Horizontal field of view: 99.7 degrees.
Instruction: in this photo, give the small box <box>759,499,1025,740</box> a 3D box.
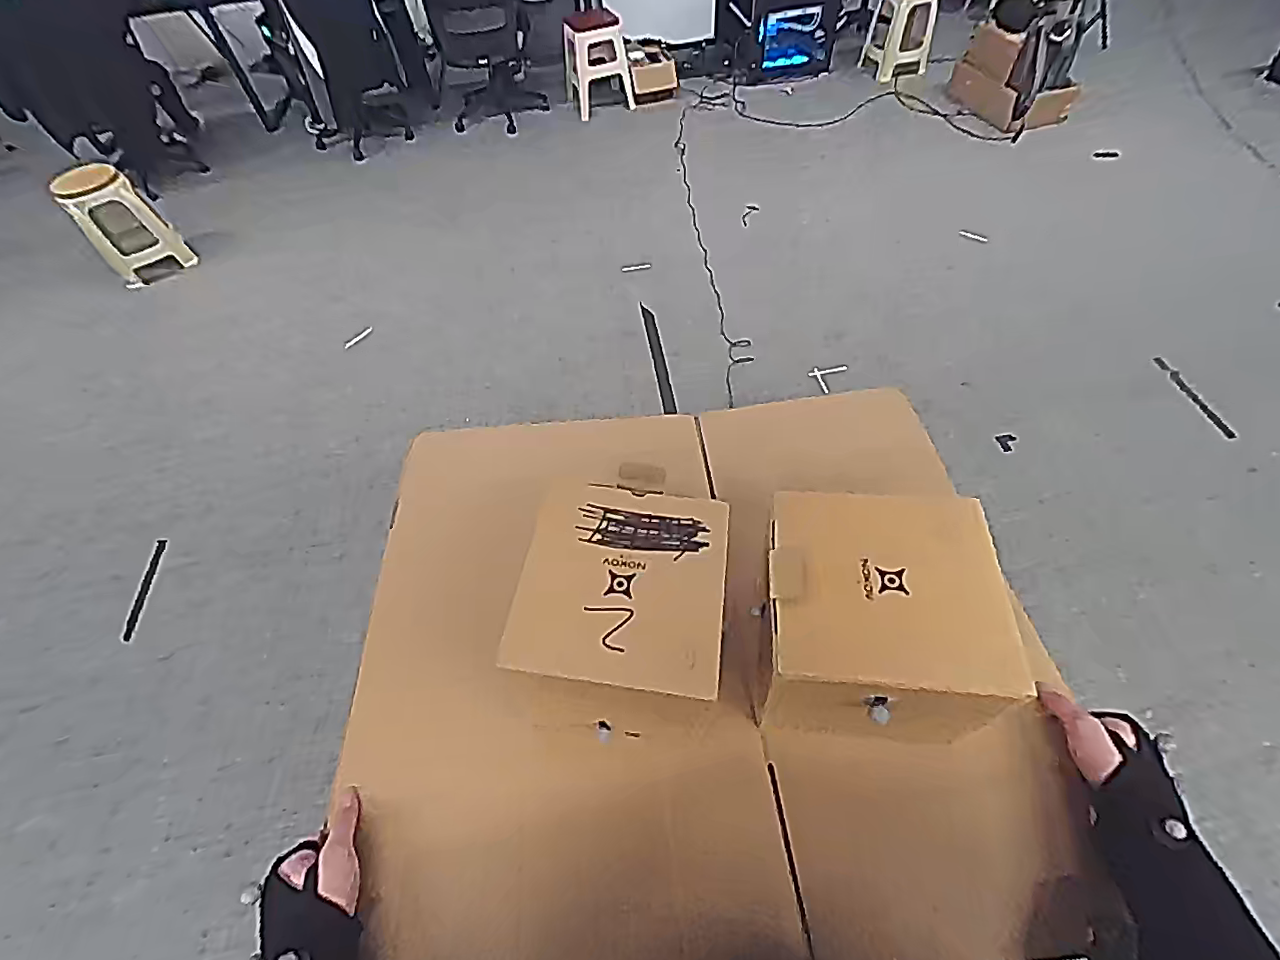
[{"bbox_3d":[0.206,0.134,0.503,0.179,0.176,0.168,1,54,10],"label":"small box"}]
